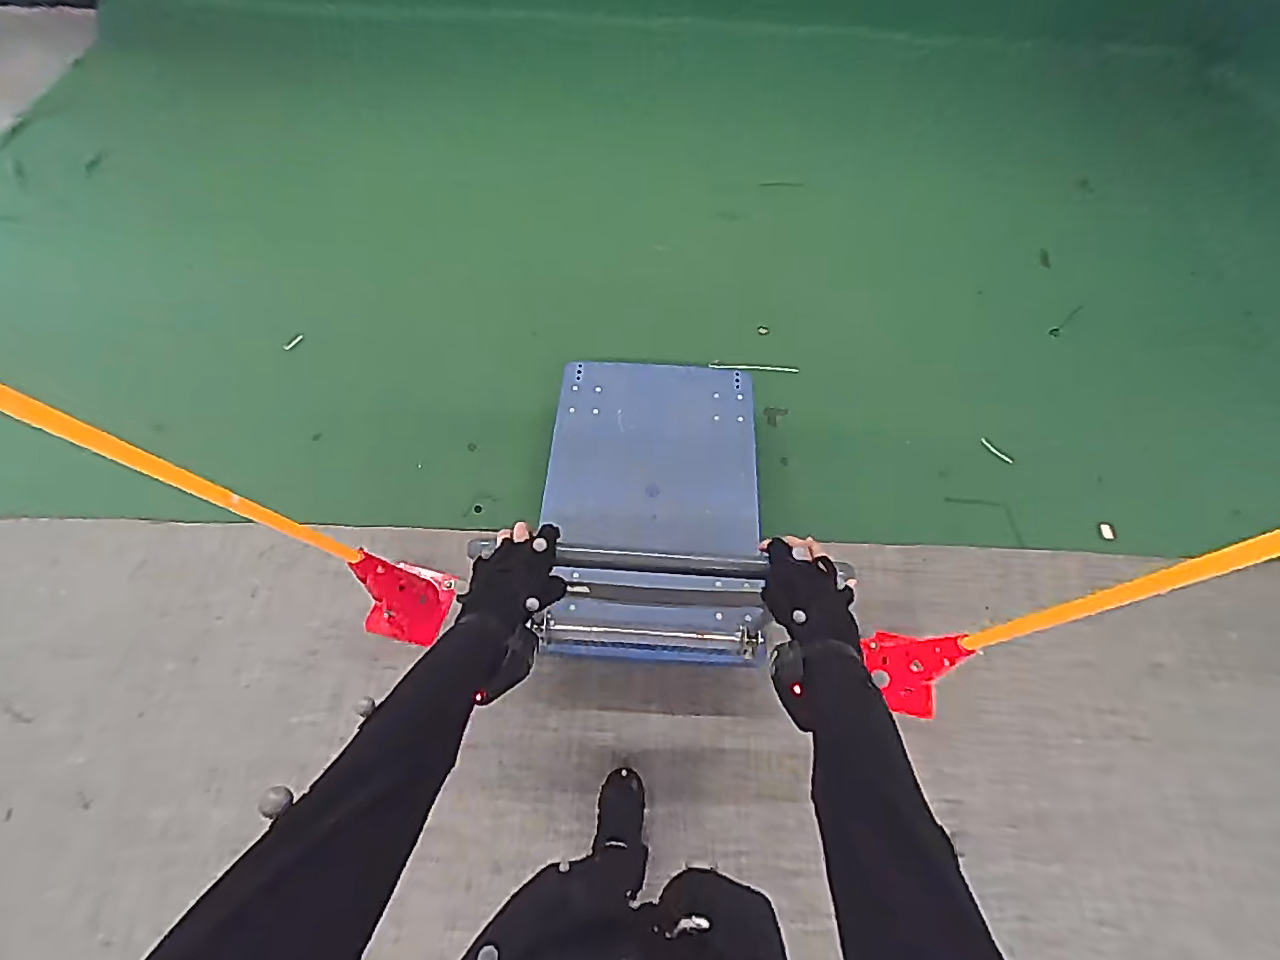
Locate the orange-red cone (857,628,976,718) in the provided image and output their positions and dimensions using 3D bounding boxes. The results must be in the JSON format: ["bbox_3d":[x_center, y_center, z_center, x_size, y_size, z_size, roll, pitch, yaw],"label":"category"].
[{"bbox_3d":[0.668,0.417,1.255,0.198,0.360,0.199,12,62,6],"label":"orange-red cone"}]
